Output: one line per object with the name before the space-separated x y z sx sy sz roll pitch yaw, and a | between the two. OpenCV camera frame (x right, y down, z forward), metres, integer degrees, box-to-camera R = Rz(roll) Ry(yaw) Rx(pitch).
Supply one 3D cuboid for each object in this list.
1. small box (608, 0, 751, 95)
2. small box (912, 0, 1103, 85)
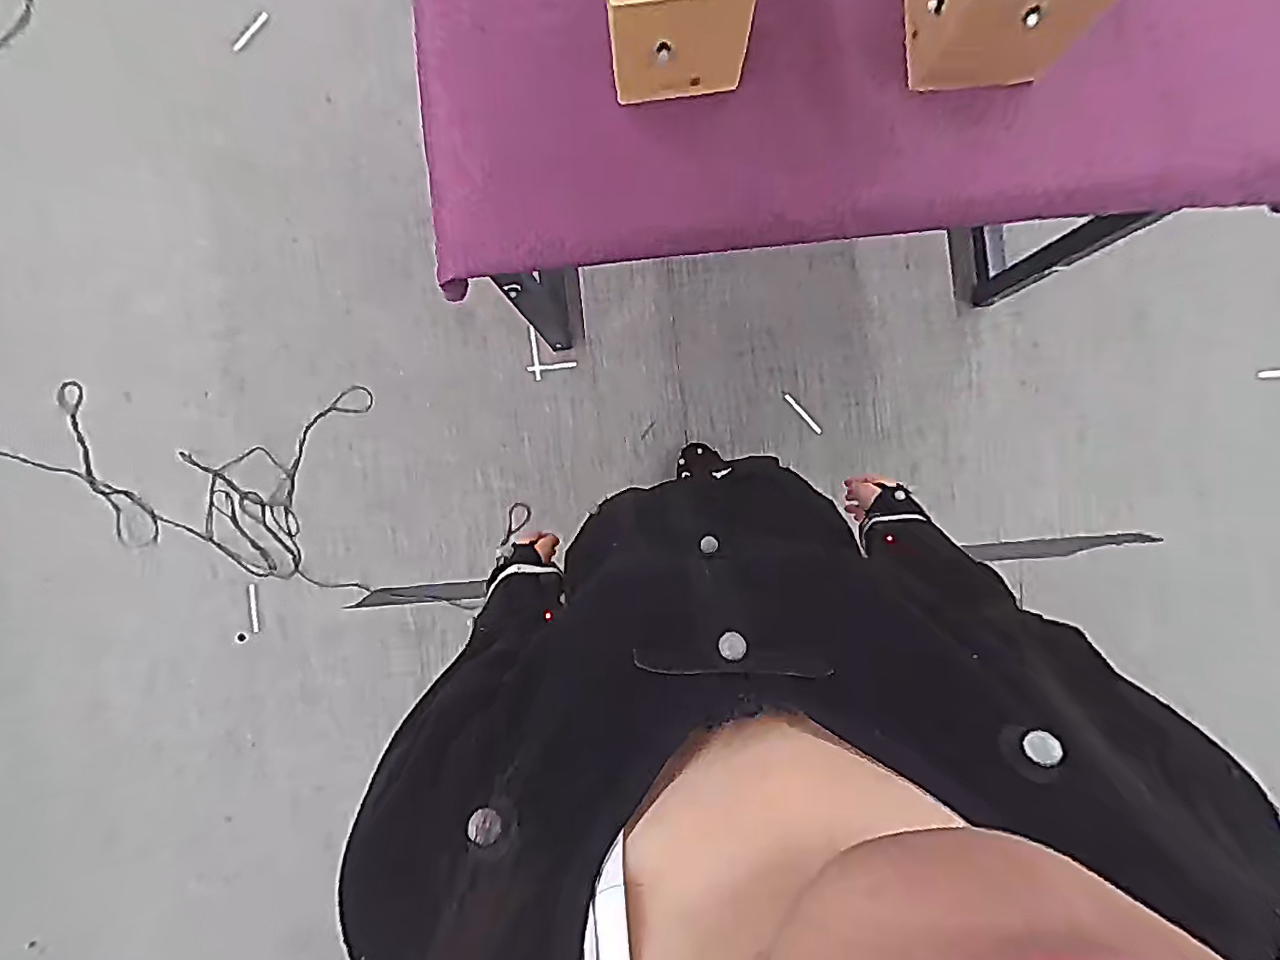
small box | 0.043 -0.614 0.666 0.168 0.176 0.179 -6 90 2
small box | 0.446 -0.616 0.651 0.179 0.176 0.168 -3 92 2
